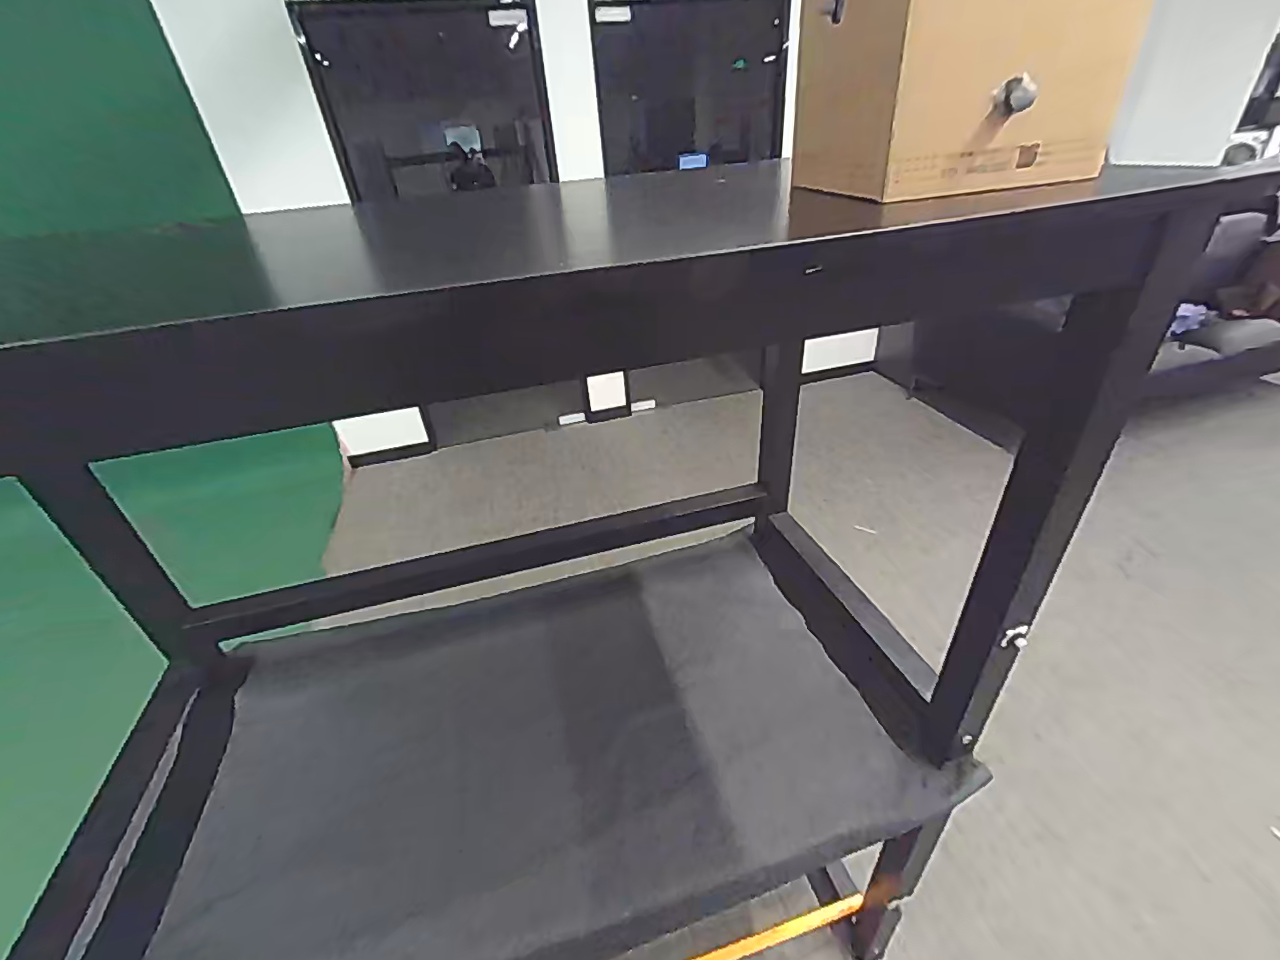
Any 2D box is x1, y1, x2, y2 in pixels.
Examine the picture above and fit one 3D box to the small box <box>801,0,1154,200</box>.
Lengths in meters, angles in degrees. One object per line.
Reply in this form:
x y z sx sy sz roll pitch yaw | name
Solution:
0.235 -0.319 0.417 0.168 0.176 0.179 -8 33 -4 | small box
